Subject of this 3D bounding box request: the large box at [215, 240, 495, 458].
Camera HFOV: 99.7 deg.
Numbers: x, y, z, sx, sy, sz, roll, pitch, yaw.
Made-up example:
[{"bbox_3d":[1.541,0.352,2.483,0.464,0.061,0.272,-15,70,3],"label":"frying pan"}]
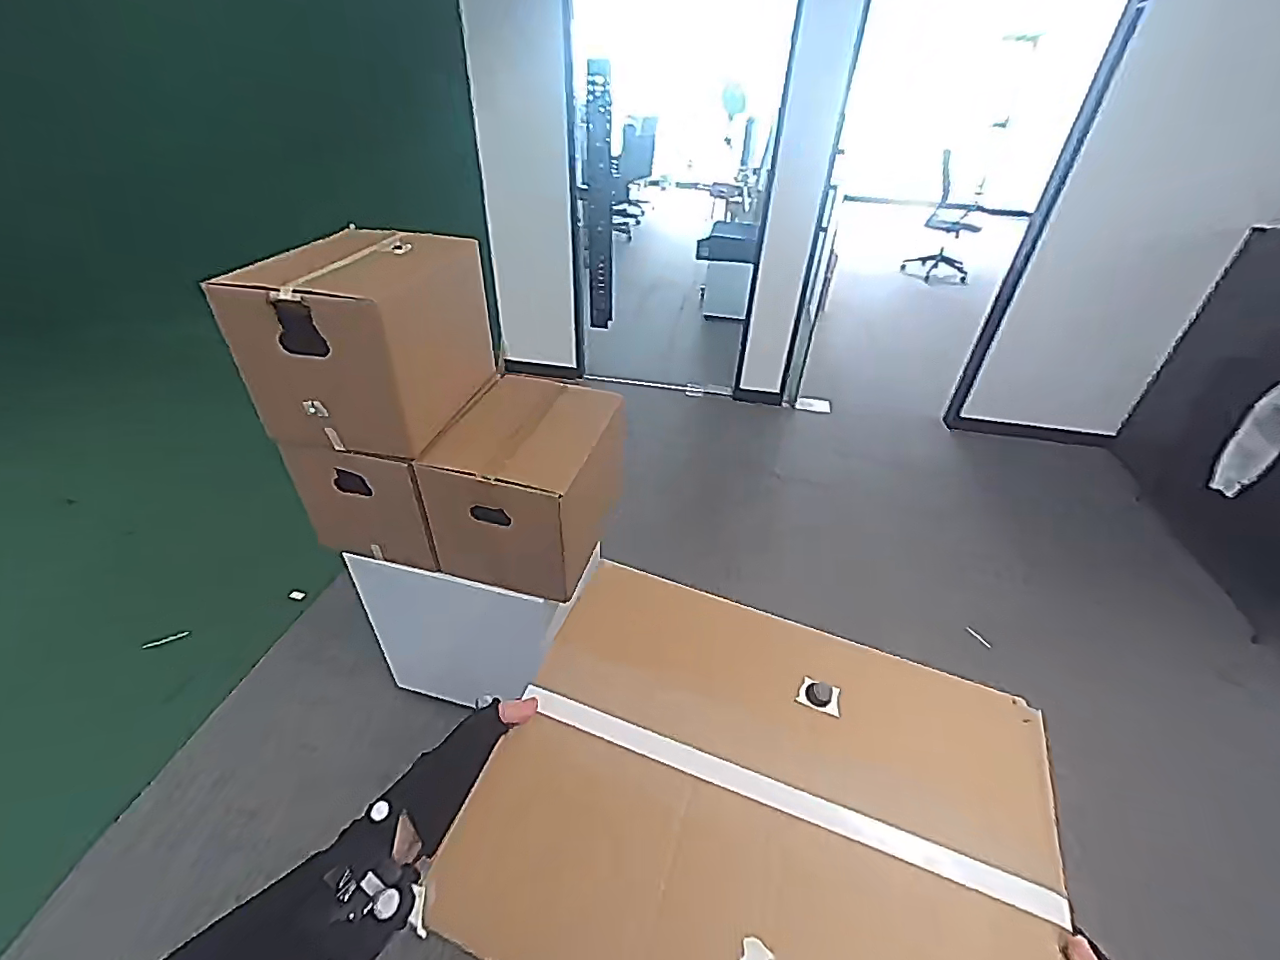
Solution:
[{"bbox_3d":[-0.537,-0.287,1.125,0.320,0.320,0.408,8,36,7],"label":"large box"}]
